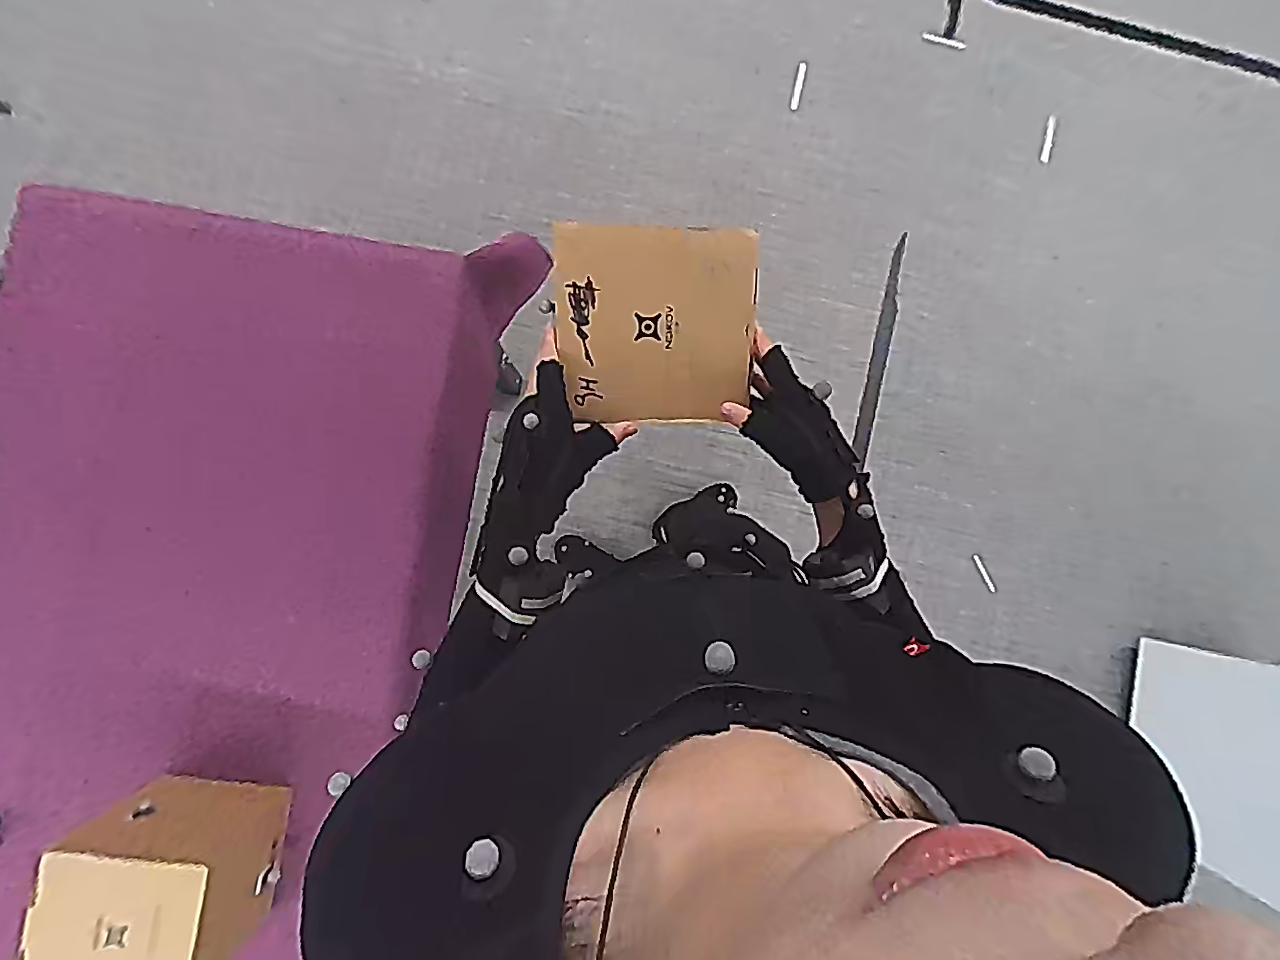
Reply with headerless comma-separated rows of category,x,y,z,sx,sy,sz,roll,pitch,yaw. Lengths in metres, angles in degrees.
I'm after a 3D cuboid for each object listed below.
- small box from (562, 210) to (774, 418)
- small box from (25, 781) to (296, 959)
small box,0.013,-0.155,0.537,0.179,0.176,0.168,-1,104,-9
small box,-0.563,0.491,0.655,0.179,0.176,0.168,7,87,-4
